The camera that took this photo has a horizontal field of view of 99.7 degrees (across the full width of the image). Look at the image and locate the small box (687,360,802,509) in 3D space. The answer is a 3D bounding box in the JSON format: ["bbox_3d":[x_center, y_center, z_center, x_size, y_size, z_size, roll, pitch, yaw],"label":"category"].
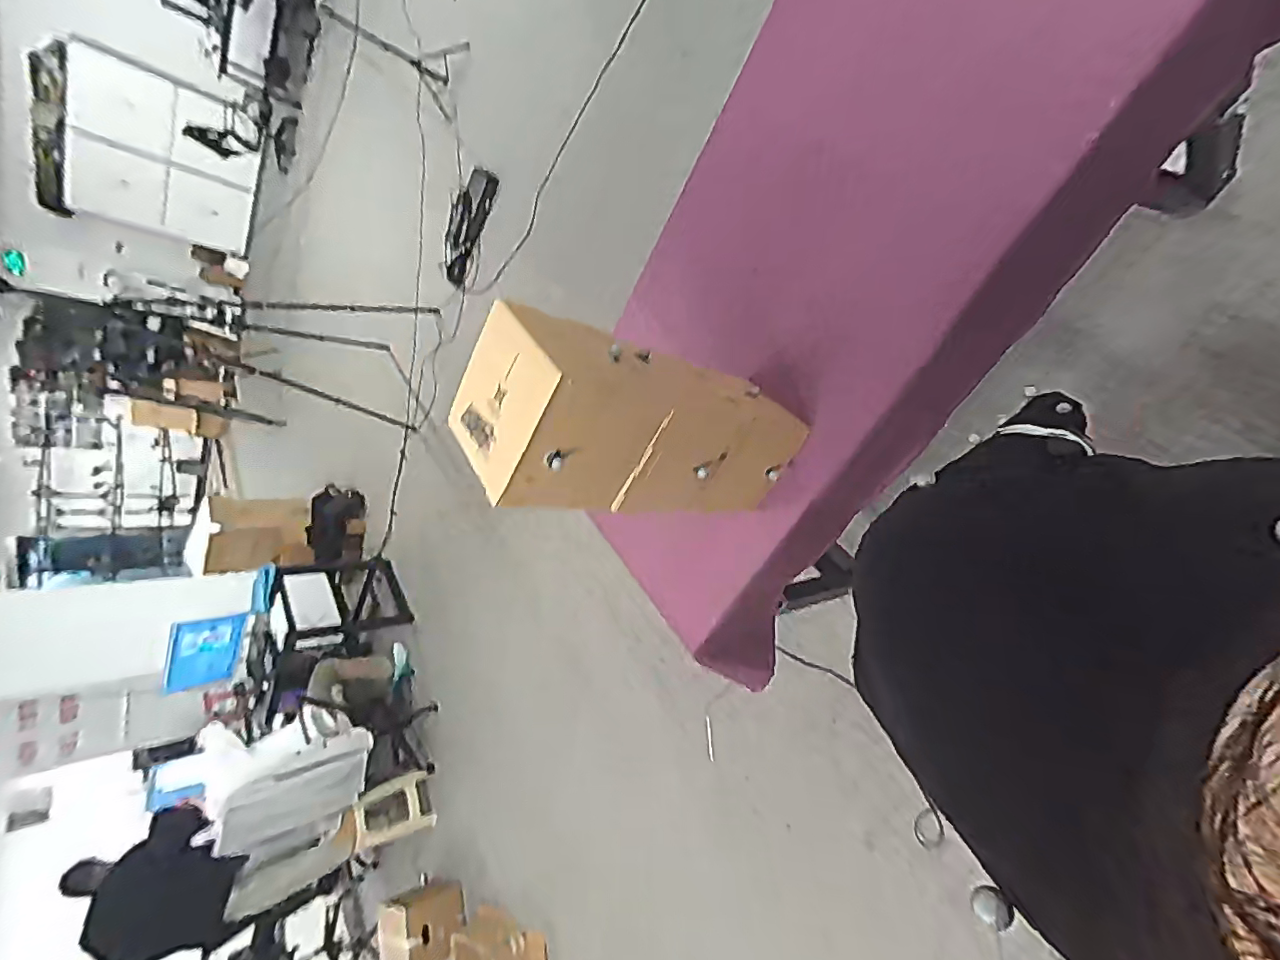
[{"bbox_3d":[0.138,-0.069,0.889,0.168,0.176,0.179,47,119,35],"label":"small box"}]

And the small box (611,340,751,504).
[{"bbox_3d":[0.020,-0.078,0.773,0.179,0.176,0.168,49,121,34],"label":"small box"}]

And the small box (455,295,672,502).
[{"bbox_3d":[-0.093,-0.087,0.654,0.168,0.176,0.179,51,121,33],"label":"small box"}]
